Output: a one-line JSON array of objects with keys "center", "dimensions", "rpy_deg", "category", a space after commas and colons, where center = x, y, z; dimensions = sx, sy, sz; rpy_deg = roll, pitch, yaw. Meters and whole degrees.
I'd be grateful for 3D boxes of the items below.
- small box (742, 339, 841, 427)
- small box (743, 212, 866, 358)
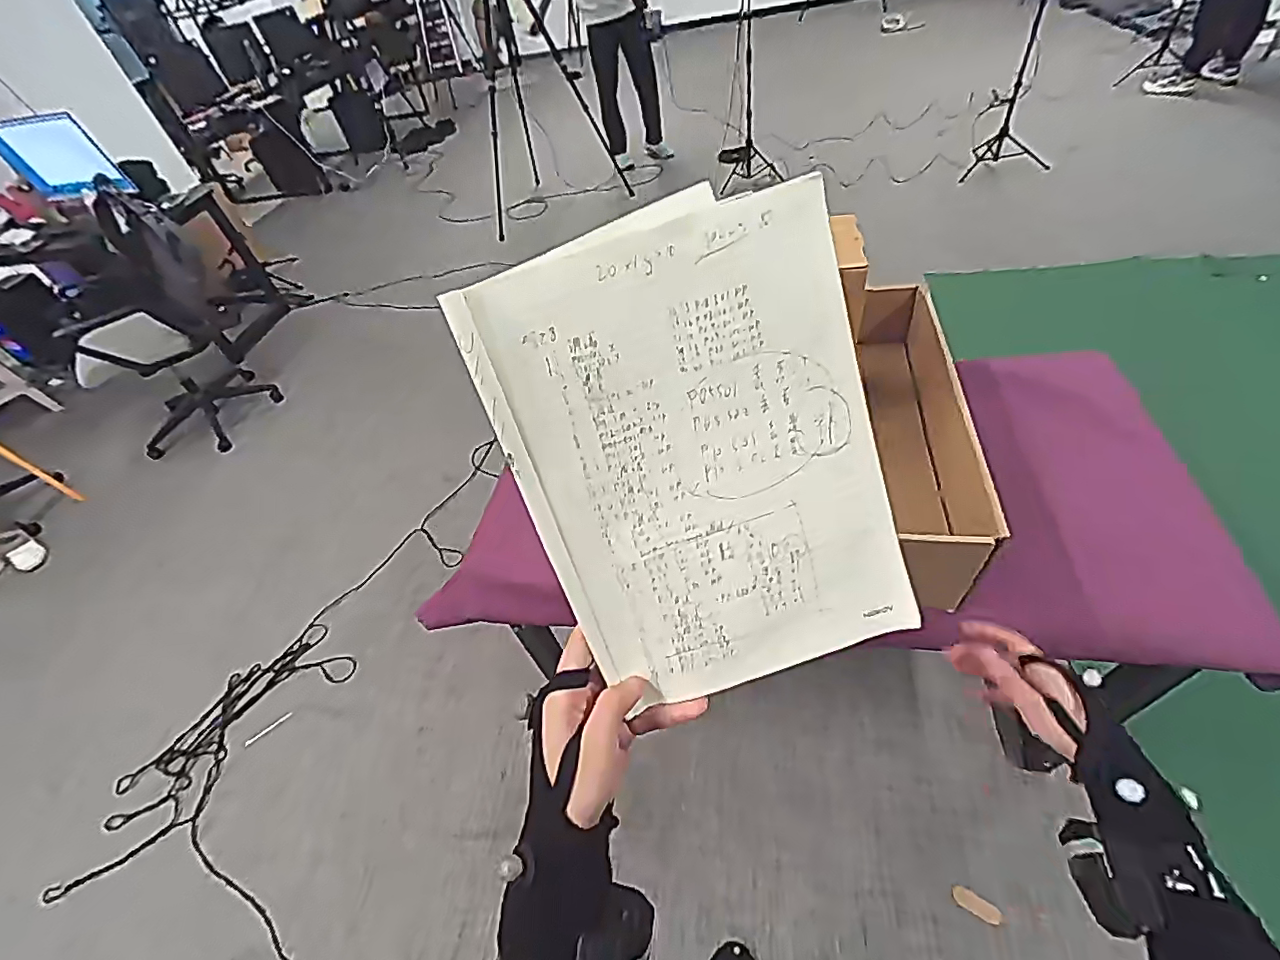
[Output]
[{"center": [0.283, -0.214, 1.020], "dimensions": [0.168, 0.176, 0.179], "rpy_deg": [2, 51, 13], "category": "small box"}, {"center": [0.262, -0.316, 0.896], "dimensions": [0.179, 0.176, 0.168], "rpy_deg": [0, 50, 11], "category": "small box"}]
